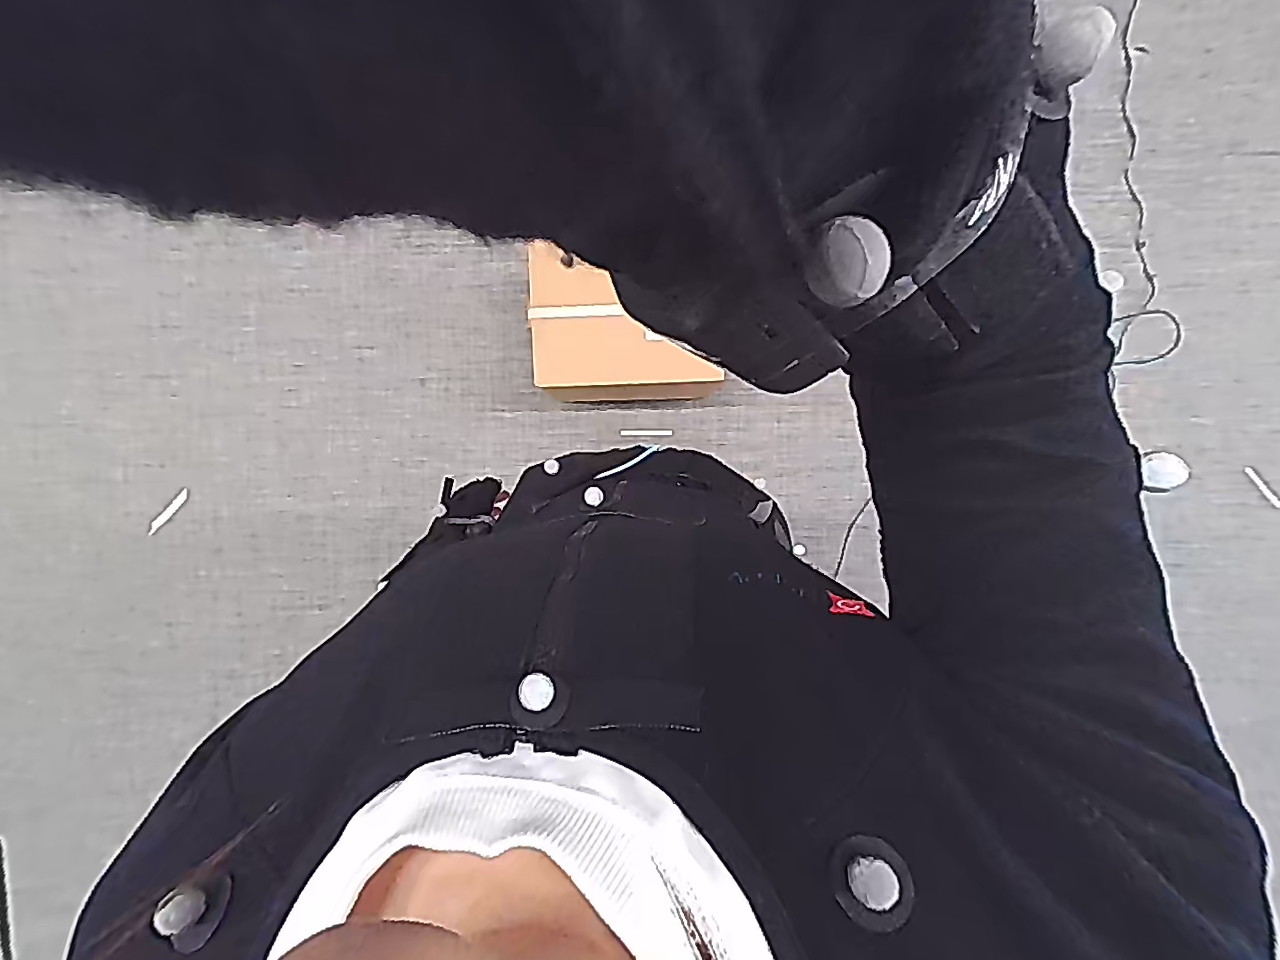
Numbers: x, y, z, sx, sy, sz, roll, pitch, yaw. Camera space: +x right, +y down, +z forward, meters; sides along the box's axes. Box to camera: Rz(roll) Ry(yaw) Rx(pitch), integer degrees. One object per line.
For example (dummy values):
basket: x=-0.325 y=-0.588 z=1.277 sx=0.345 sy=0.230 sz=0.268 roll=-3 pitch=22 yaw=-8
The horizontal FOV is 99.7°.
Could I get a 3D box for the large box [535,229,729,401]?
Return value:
large box: x=-0.016 y=-0.368 z=1.288 sx=0.408 sy=0.320 sz=0.320 roll=-2 pitch=93 yaw=1
